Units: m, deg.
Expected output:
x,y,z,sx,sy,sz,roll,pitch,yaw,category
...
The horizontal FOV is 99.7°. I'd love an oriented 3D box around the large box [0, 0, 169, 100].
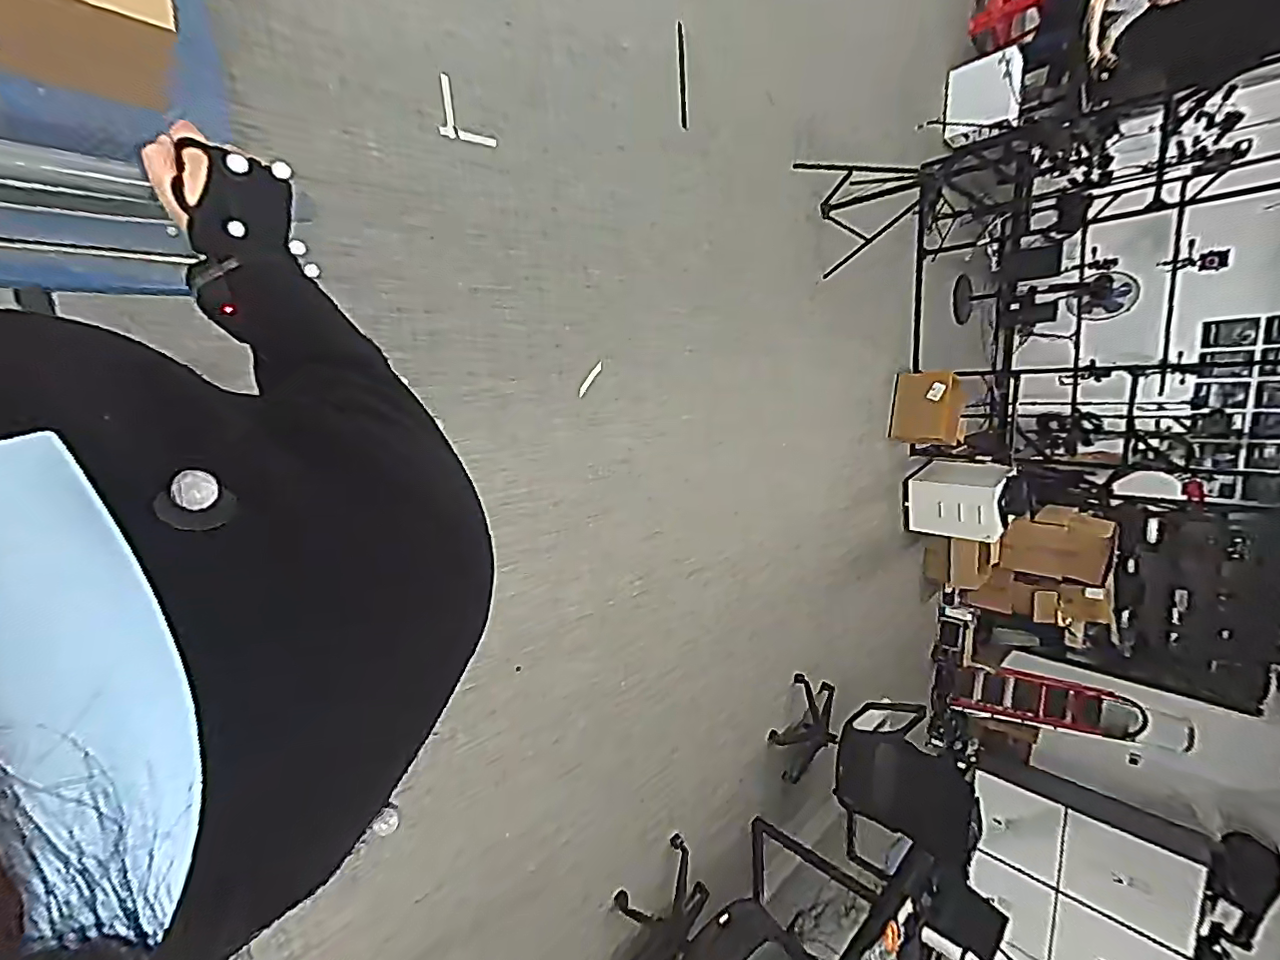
x,y,z,sx,sy,sz,roll,pitch,yaw,category
-0.913,-0.782,0.710,0.408,0.320,0.320,-10,102,-42,large box
